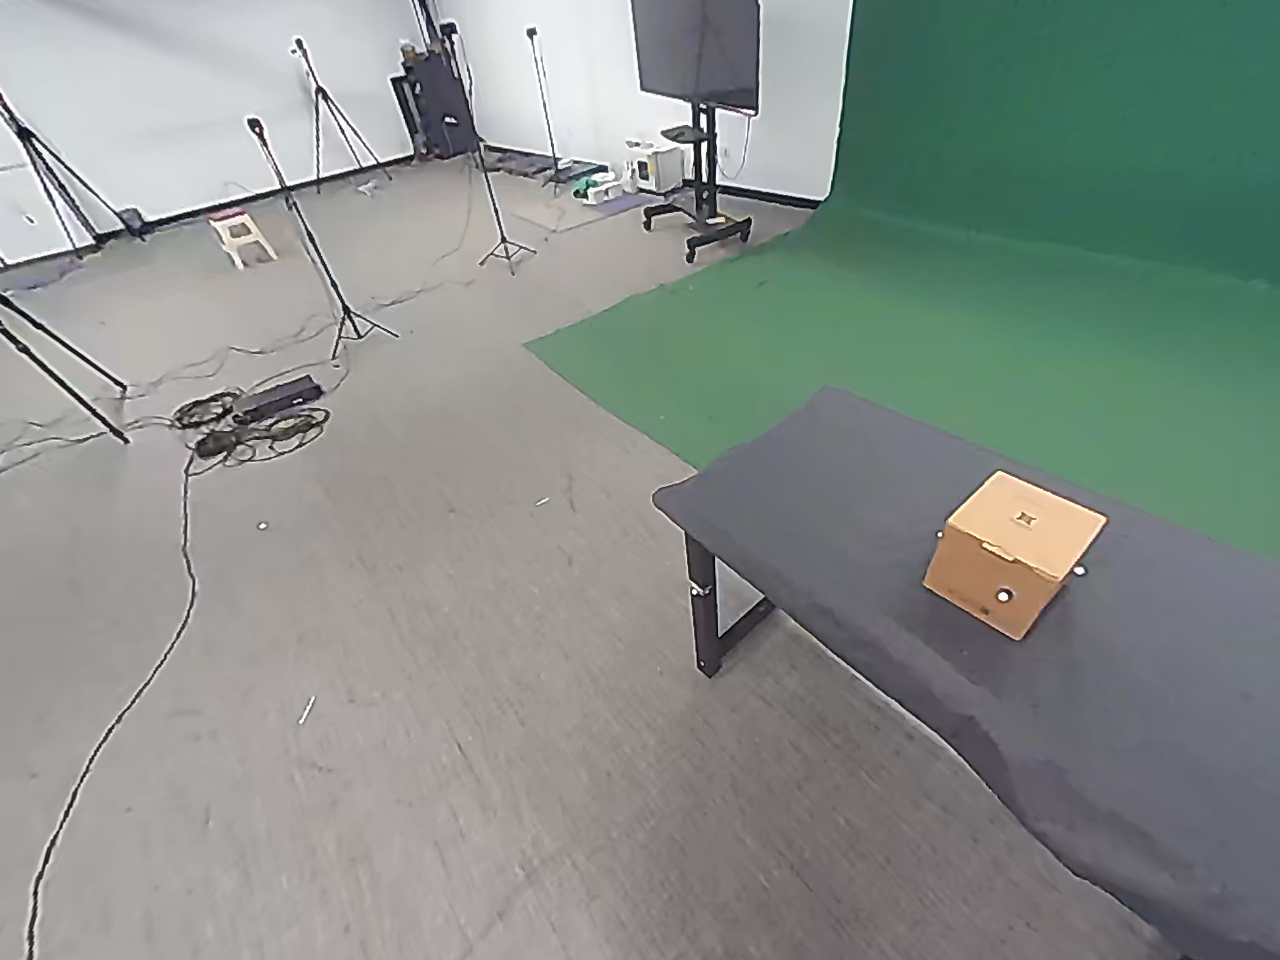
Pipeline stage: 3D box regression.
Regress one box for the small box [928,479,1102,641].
[{"bbox_3d":[0.617,0.135,0.914,0.179,0.176,0.168,-32,48,-26],"label":"small box"}]
